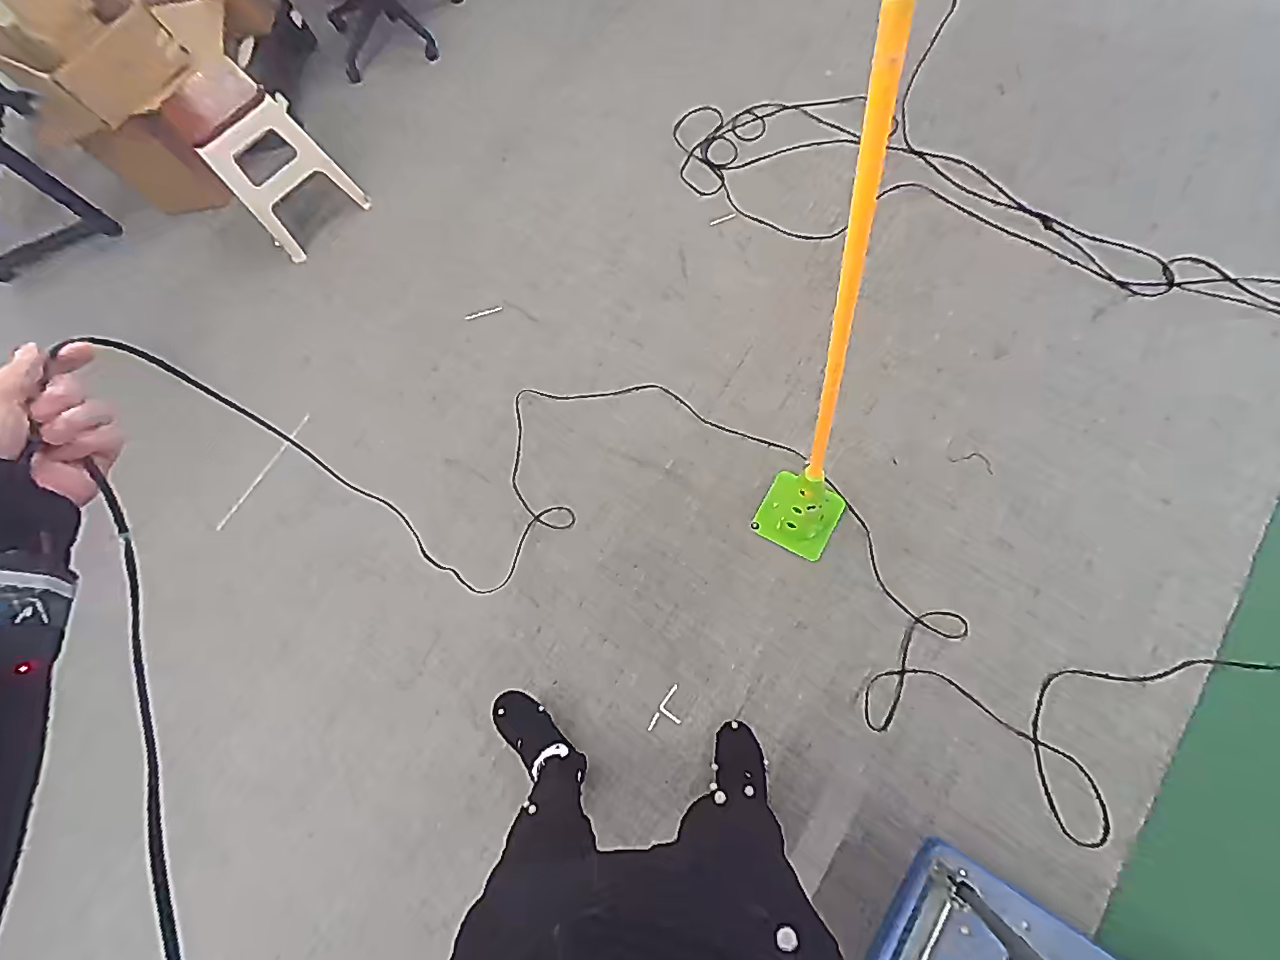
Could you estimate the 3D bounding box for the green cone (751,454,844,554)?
[{"bbox_3d":[0.403,0.026,1.311,0.200,0.368,0.202,27,77,16],"label":"green cone"}]
